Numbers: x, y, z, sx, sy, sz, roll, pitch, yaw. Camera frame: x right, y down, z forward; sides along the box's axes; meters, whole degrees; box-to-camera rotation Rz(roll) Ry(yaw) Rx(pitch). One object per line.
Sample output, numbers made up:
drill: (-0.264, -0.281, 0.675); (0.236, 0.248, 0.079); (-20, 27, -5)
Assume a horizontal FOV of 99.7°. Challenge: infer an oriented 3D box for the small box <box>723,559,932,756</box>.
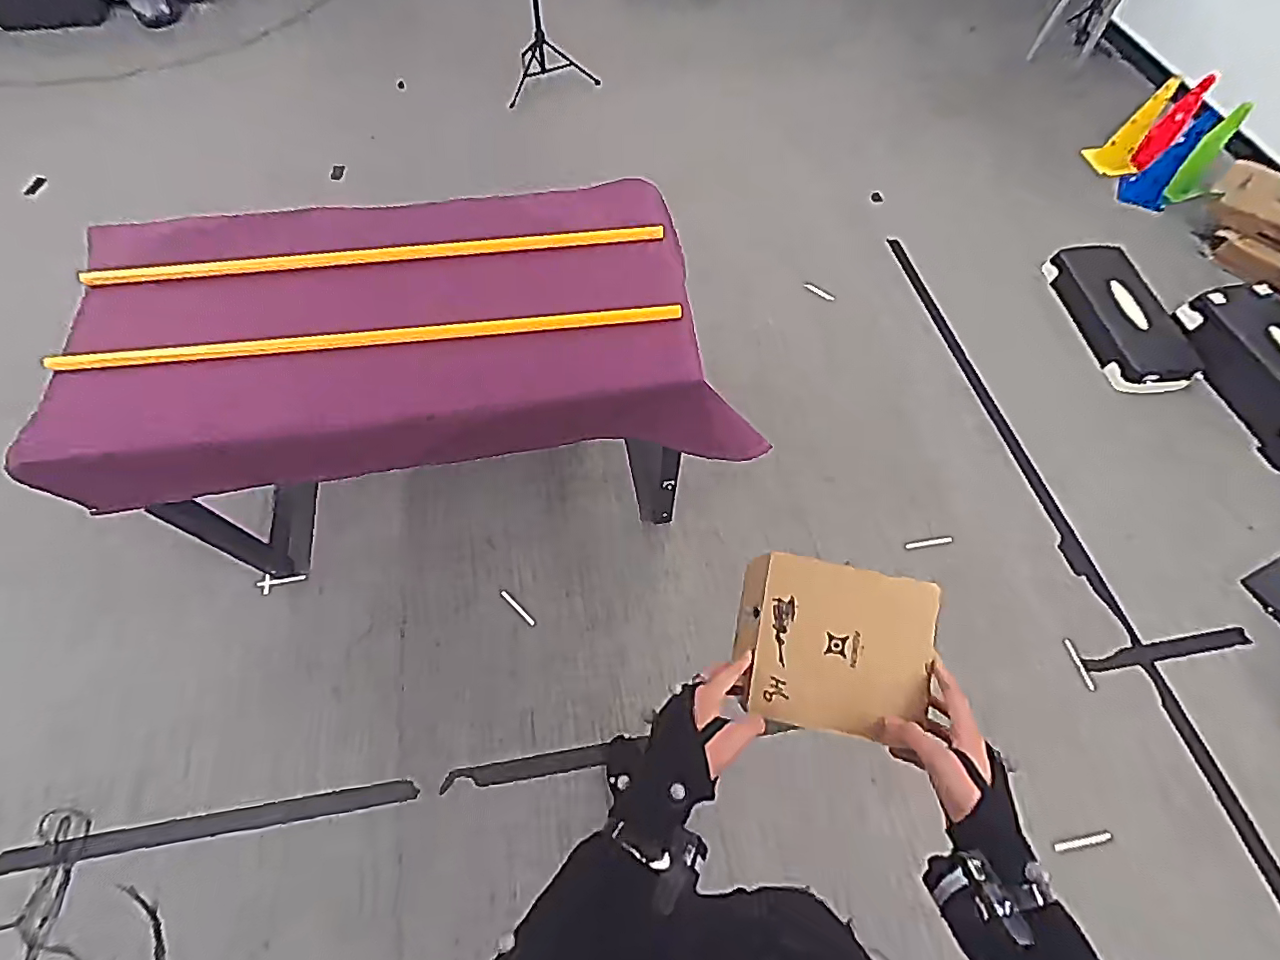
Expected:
small box: (0.204, 0.192, 0.630); (0.179, 0.176, 0.168); (12, 80, 5)
